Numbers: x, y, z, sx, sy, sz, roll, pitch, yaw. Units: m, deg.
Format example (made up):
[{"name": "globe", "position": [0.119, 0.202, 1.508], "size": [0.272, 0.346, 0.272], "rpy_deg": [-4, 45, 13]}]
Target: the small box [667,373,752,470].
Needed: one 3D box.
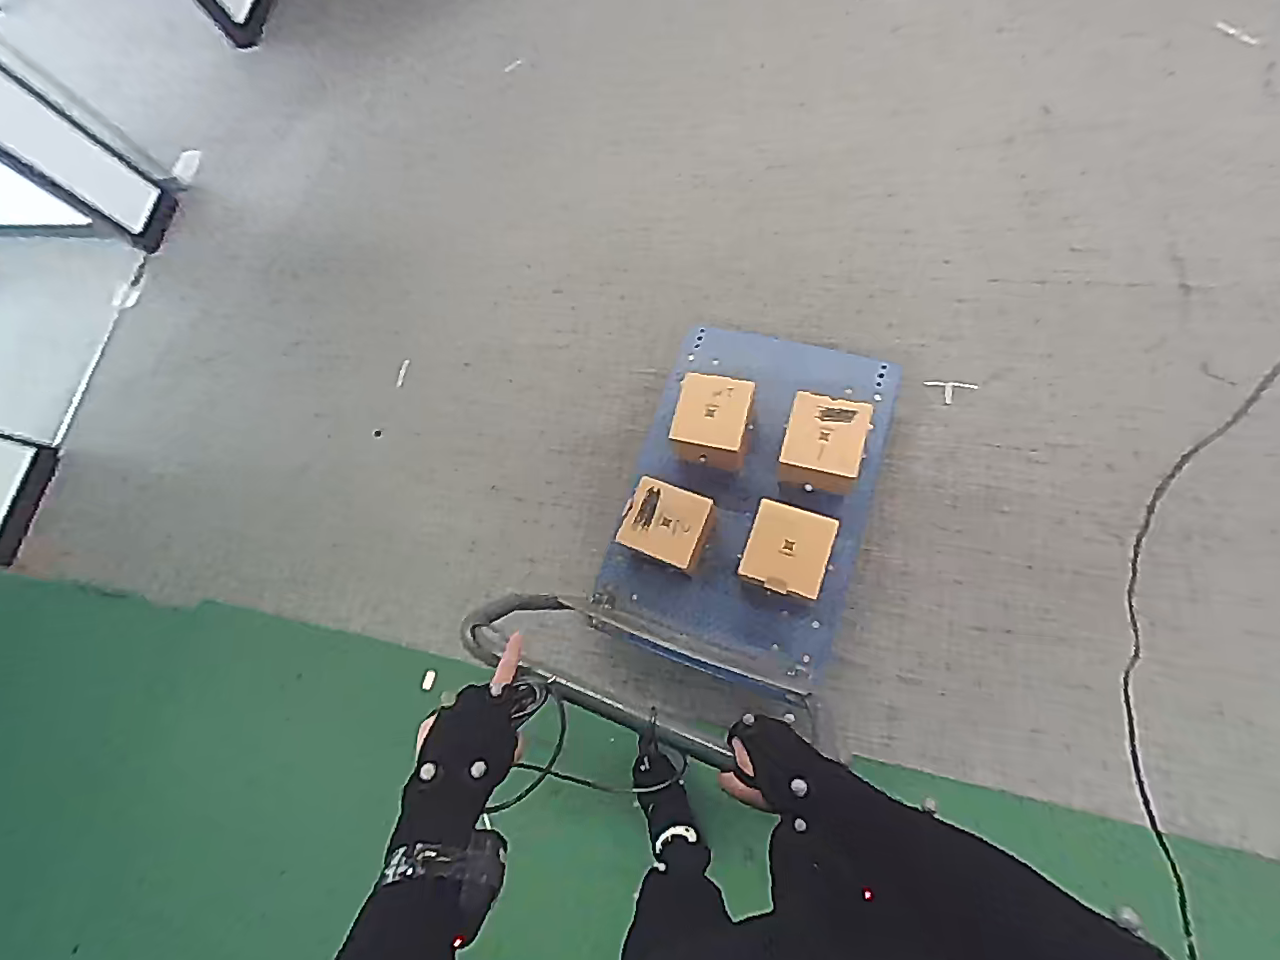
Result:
[{"name": "small box", "position": [0.178, -0.136, 1.324], "size": [0.168, 0.176, 0.179], "rpy_deg": [12, 77, 15]}]

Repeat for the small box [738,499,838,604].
[{"name": "small box", "position": [0.325, 0.164, 1.204], "size": [0.168, 0.176, 0.179], "rpy_deg": [17, 79, 17]}]

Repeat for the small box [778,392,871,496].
[{"name": "small box", "position": [0.418, -0.079, 1.252], "size": [0.168, 0.176, 0.179], "rpy_deg": [14, 78, 17]}]
